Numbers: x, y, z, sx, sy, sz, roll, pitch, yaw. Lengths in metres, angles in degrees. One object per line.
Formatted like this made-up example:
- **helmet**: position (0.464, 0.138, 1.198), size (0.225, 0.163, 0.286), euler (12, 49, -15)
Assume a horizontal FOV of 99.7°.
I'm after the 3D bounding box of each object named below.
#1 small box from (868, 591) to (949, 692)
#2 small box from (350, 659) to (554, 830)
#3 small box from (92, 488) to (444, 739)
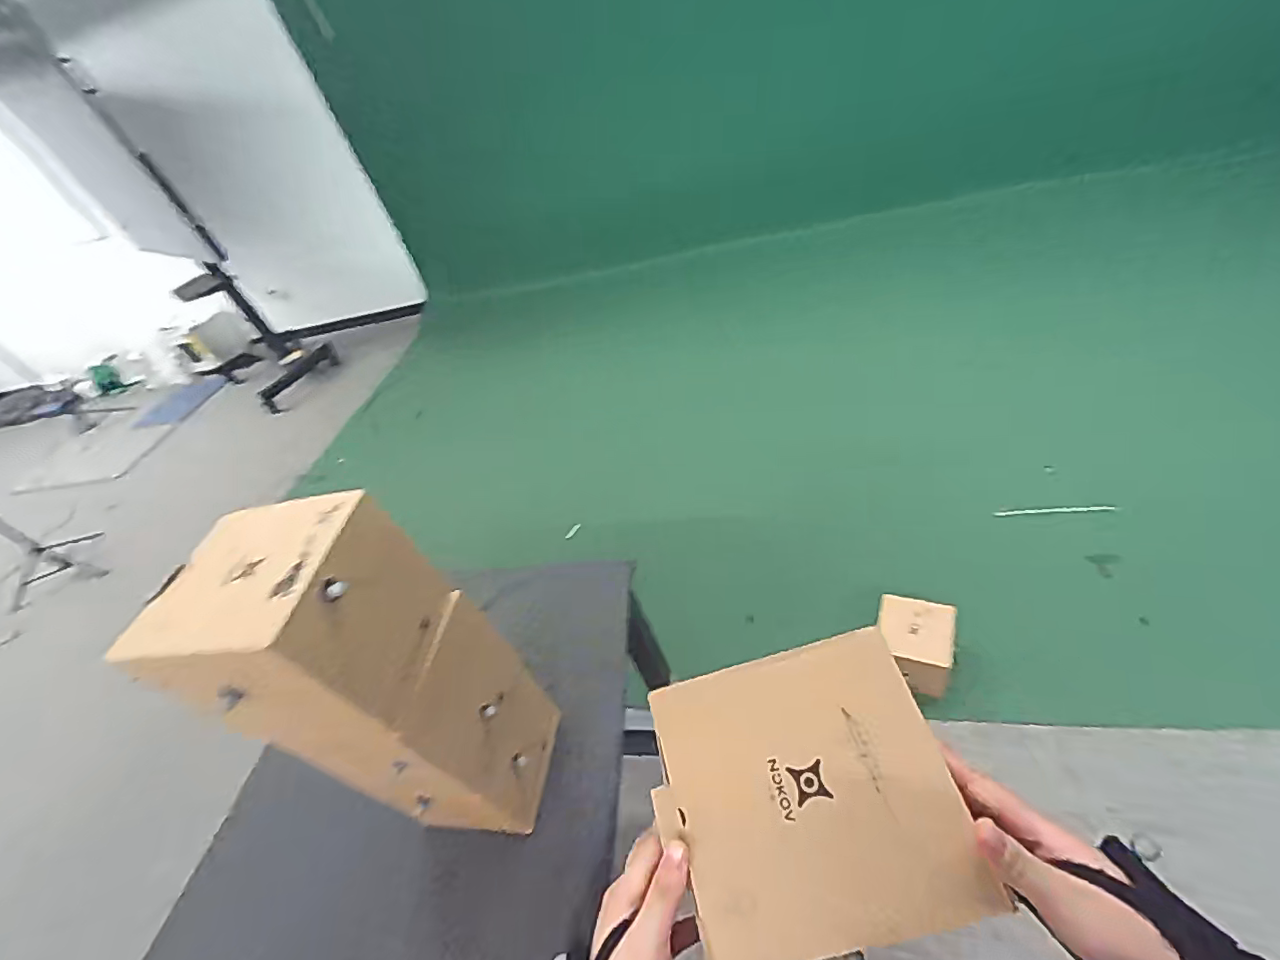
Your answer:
- **small box**: position (0.695, 0.422, 1.407), size (0.168, 0.176, 0.179), euler (9, 49, 26)
- **small box**: position (-0.237, 0.359, 0.736), size (0.179, 0.176, 0.168), euler (-6, 44, 17)
- **small box**: position (-0.325, 0.133, 0.515), size (0.179, 0.176, 0.168), euler (-9, 44, 14)
